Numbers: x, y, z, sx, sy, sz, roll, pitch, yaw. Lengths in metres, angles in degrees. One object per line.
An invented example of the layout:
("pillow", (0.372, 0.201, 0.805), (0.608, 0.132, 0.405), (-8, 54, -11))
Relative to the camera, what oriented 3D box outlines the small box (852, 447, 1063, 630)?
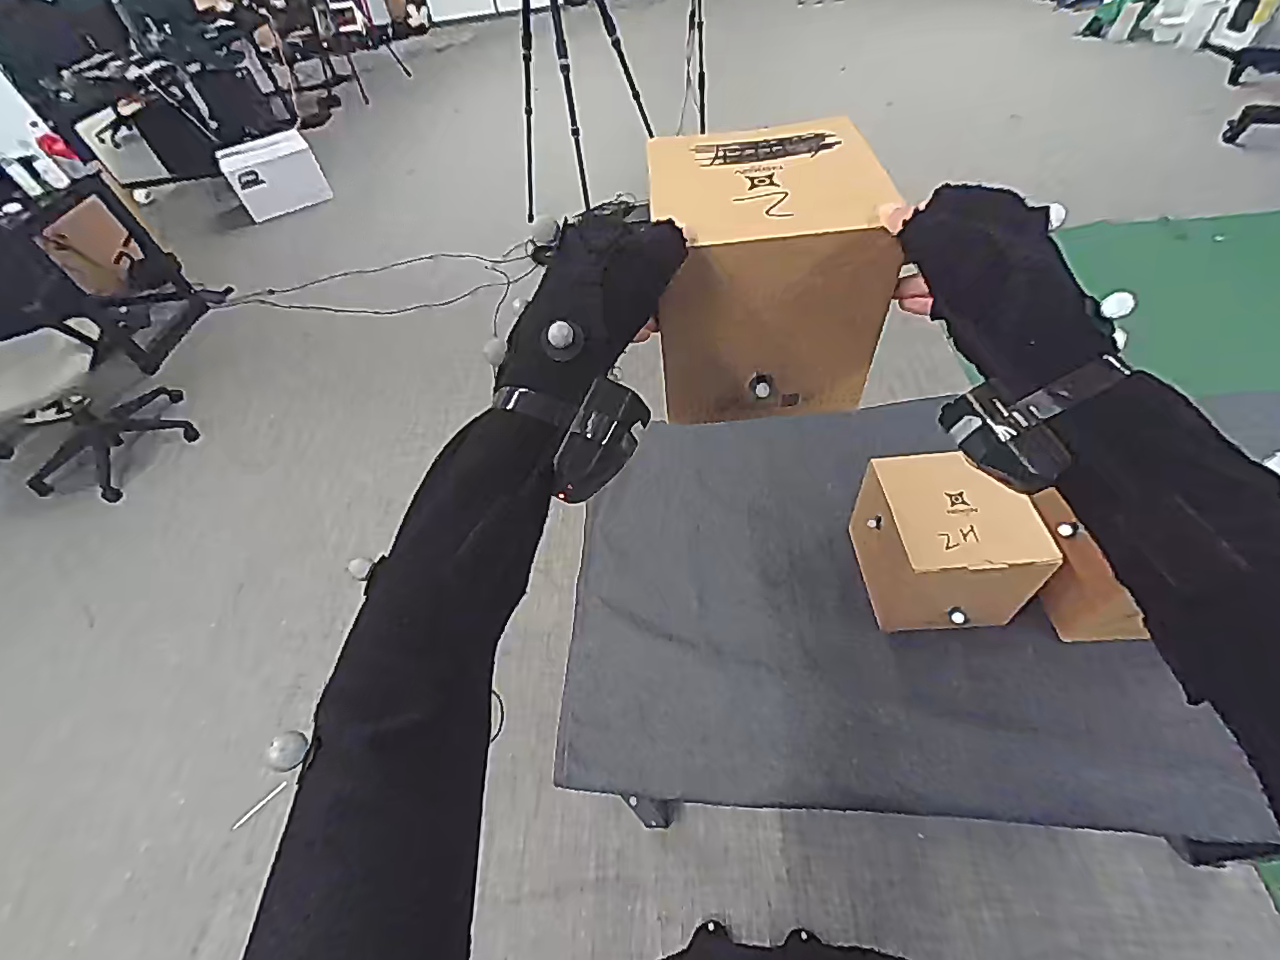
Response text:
("small box", (0.396, 0.080, 0.719), (0.168, 0.176, 0.179), (-5, 50, 5))
